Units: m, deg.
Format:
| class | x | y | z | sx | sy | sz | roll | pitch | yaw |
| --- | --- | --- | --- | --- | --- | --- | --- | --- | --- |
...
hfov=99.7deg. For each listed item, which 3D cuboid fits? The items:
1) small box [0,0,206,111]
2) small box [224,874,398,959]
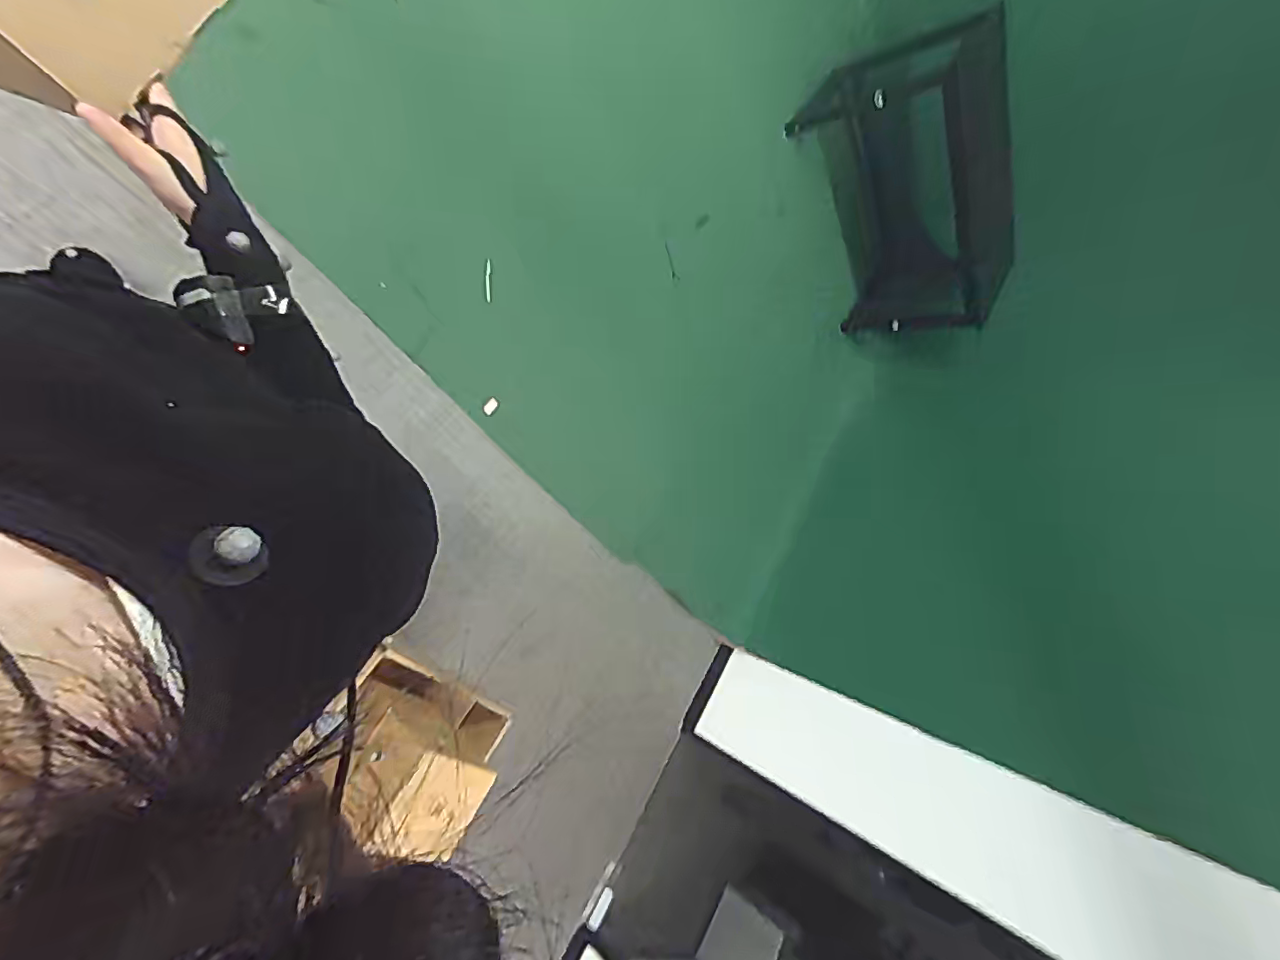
| class | x | y | z | sx | sy | sz | roll | pitch | yaw |
| --- | --- | --- | --- | --- | --- | --- | --- | --- | --- |
| small box | -0.445 | -0.400 | 0.358 | 0.168 | 0.176 | 0.179 | -63 | 164 | -11 |
| small box | -0.540 | 0.786 | 0.872 | 0.179 | 0.176 | 0.168 | -53 | 130 | -23 |
